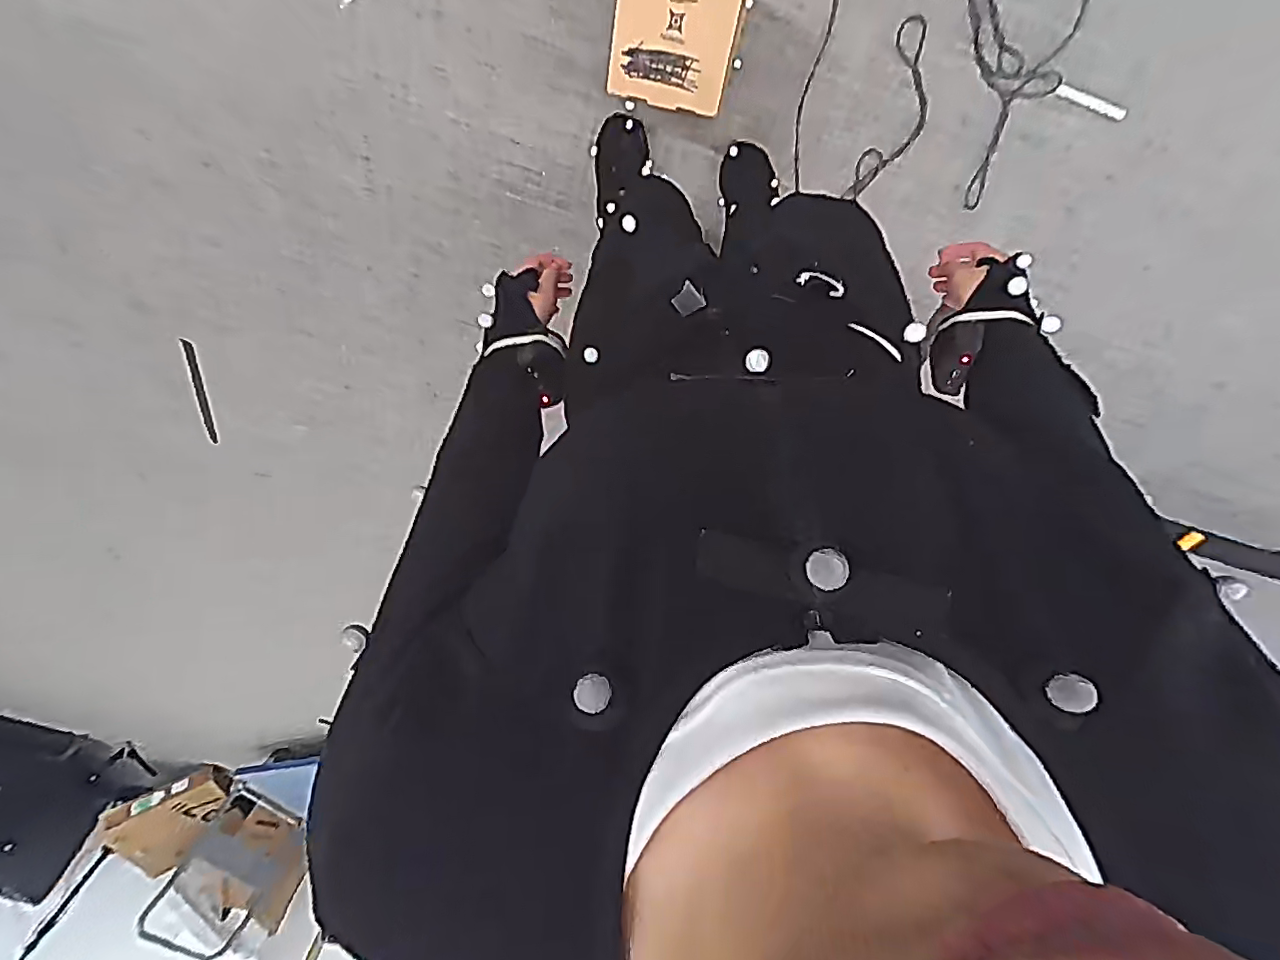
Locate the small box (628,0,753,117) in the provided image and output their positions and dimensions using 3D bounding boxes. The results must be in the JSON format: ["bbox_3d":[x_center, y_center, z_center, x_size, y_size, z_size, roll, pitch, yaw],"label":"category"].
[{"bbox_3d":[0.089,-0.753,0.926,0.168,0.176,0.179,17,128,-3],"label":"small box"}]
